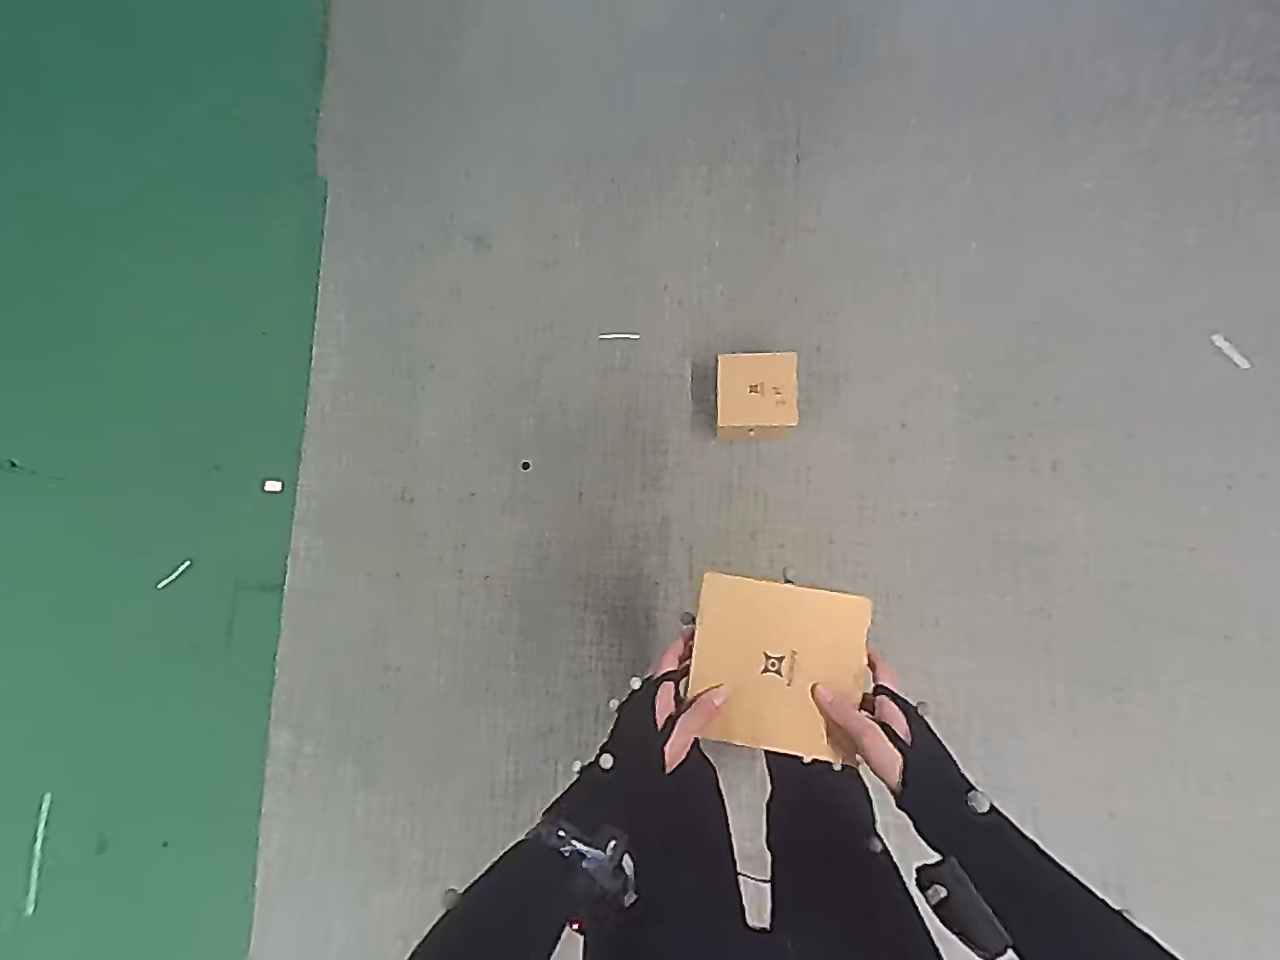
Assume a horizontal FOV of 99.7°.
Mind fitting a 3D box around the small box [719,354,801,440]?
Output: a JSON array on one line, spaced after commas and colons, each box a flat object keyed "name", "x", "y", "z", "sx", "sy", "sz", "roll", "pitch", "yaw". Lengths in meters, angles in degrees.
[{"name": "small box", "x": 0.274, "y": -0.188, "z": 1.266, "sx": 0.179, "sy": 0.176, "sz": 0.168, "roll": 1, "pitch": 84, "yaw": 7}]

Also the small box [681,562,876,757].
[{"name": "small box", "x": 0.144, "y": 0.189, "z": 0.623, "sx": 0.179, "sy": 0.176, "sz": 0.168, "roll": 9, "pitch": 84, "yaw": 3}]
